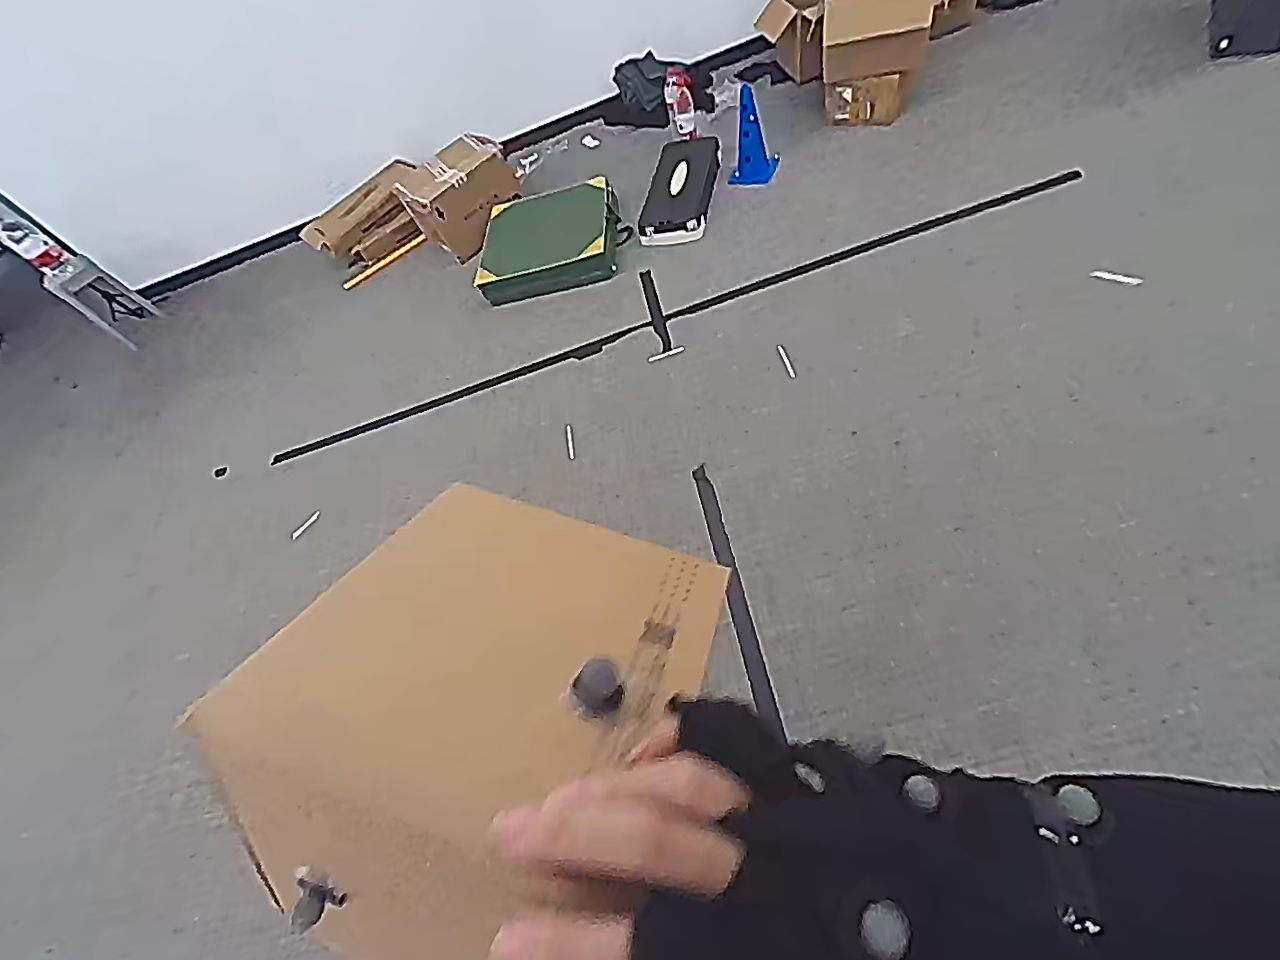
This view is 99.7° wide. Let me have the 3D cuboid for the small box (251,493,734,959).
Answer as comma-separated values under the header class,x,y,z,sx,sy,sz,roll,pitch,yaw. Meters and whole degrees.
class,x,y,z,sx,sy,sz,roll,pitch,yaw
small box,-0.058,0.139,0.298,0.176,0.179,0.168,17,31,9
